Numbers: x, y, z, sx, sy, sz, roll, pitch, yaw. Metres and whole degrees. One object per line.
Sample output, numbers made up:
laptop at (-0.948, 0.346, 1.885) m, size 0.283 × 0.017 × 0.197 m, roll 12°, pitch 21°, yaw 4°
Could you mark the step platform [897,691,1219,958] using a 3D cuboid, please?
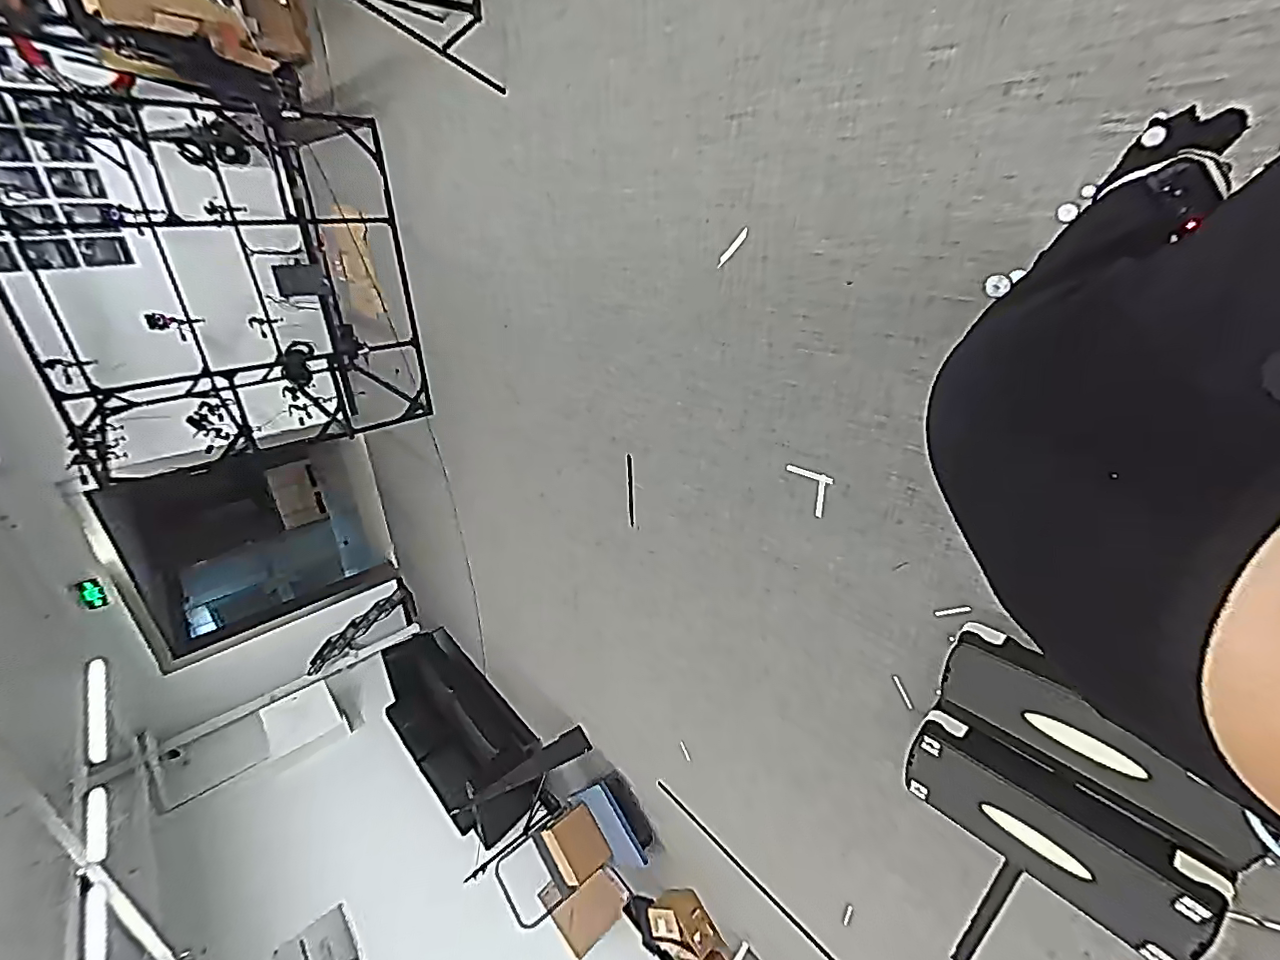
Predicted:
step platform at (1.086, 0.907, 1.494) m, size 0.684 × 0.204 × 0.286 m, roll 26°, pitch 127°, yaw 44°
